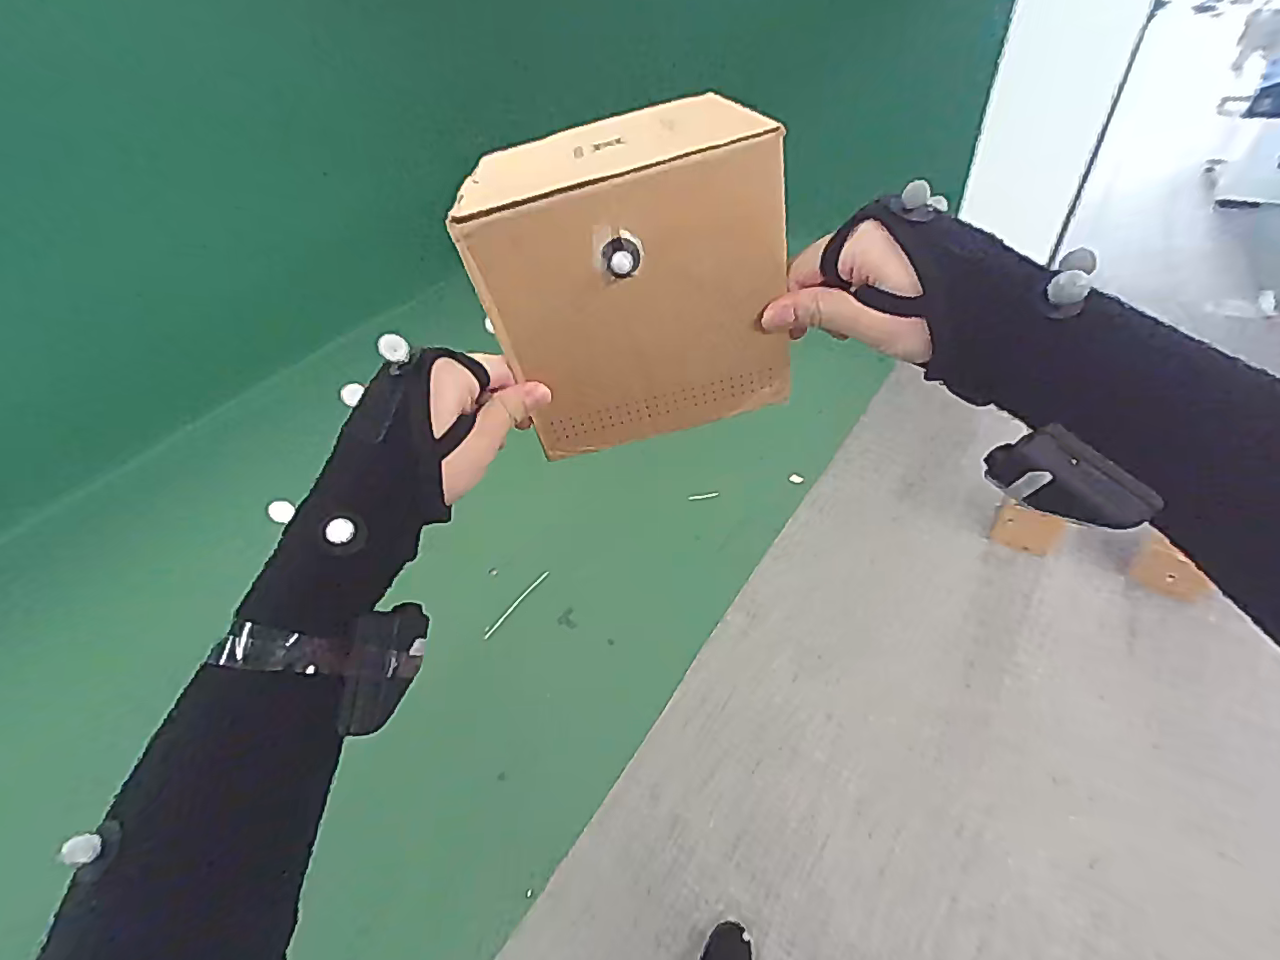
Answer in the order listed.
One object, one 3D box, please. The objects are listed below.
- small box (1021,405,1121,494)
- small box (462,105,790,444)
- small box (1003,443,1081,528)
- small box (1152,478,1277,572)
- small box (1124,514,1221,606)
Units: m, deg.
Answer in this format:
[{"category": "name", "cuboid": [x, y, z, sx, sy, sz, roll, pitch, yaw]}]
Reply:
[{"category": "small box", "cuboid": [1.239, -0.086, 1.564, 0.179, 0.176, 0.168, 23, 54, 29]}, {"category": "small box", "cuboid": [-0.001, -0.146, 0.392, 0.179, 0.176, 0.168, -13, 39, 3]}, {"category": "small box", "cuboid": [1.263, 0.019, 1.689, 0.168, 0.176, 0.179, 22, 52, 28]}, {"category": "small box", "cuboid": [1.600, 0.130, 1.514, 0.179, 0.176, 0.168, 28, 57, 33]}, {"category": "small box", "cuboid": [1.611, 0.244, 1.630, 0.168, 0.176, 0.179, 31, 59, 33]}]
